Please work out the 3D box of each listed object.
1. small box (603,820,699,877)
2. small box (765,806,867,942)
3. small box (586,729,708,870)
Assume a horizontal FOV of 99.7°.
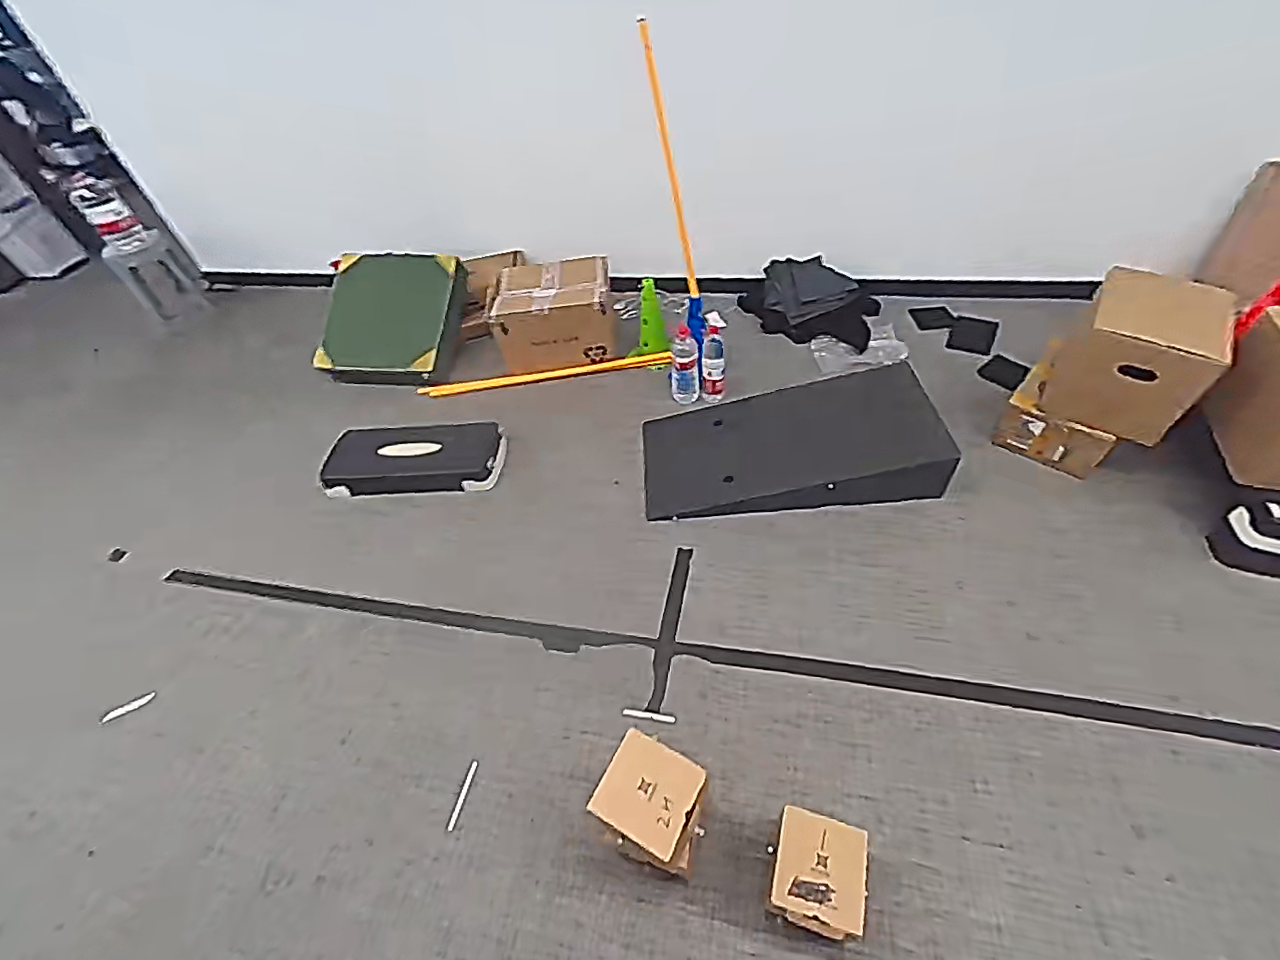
[{"bbox_3d":[0.037,0.742,1.183,0.179,0.176,0.168,11,51,15],"label":"small box"},{"bbox_3d":[0.352,0.799,1.095,0.168,0.176,0.179,11,50,16],"label":"small box"},{"bbox_3d":[0.022,0.630,1.062,0.179,0.176,0.168,21,55,24],"label":"small box"}]
